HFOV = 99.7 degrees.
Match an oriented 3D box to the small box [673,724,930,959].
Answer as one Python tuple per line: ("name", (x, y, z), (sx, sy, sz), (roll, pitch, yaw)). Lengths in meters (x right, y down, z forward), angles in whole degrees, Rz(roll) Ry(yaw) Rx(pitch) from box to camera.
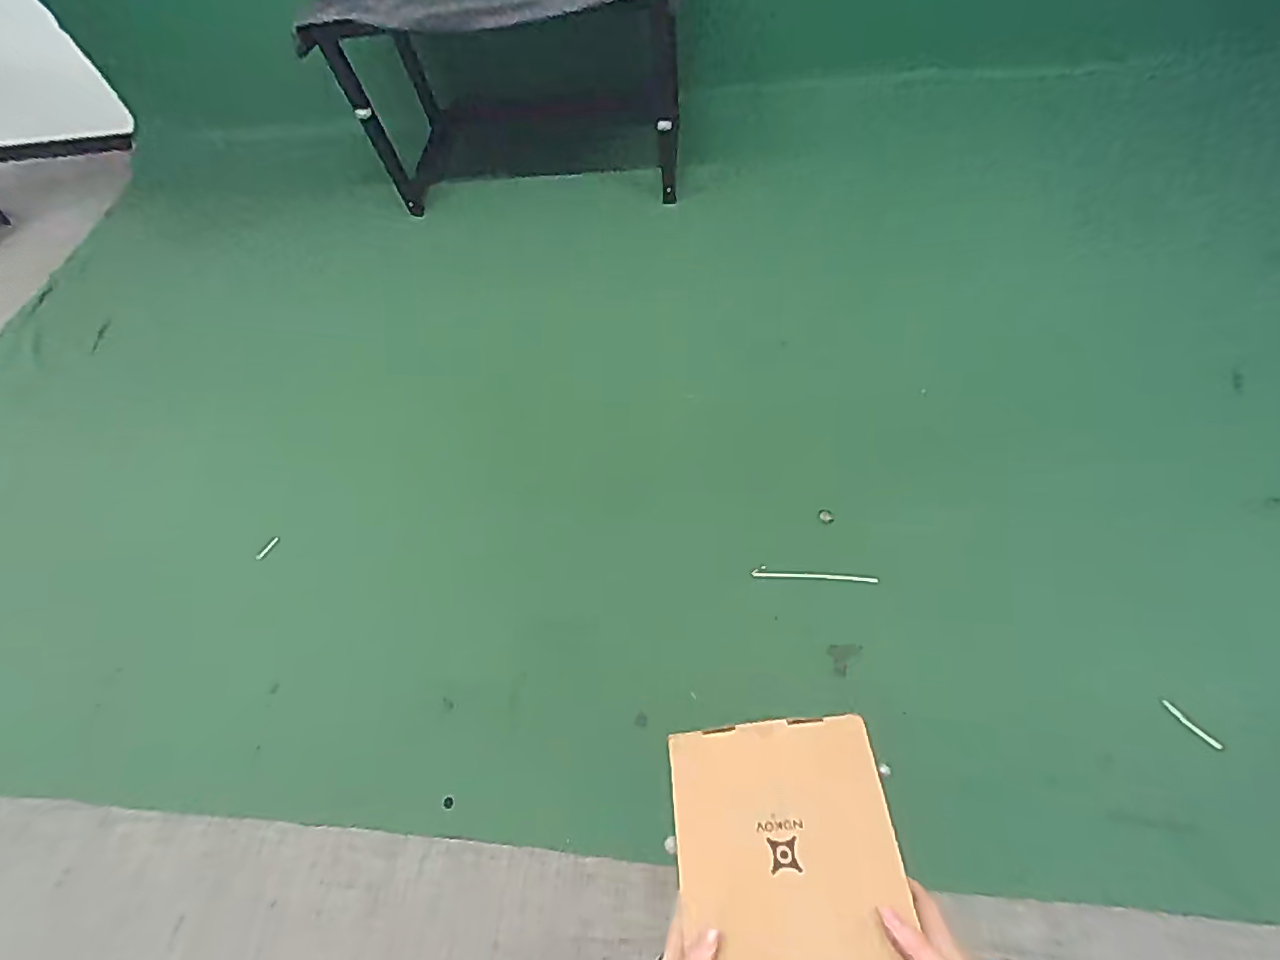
("small box", (0.132, 0.331, 0.469), (0.168, 0.176, 0.179), (-12, 51, 9))
